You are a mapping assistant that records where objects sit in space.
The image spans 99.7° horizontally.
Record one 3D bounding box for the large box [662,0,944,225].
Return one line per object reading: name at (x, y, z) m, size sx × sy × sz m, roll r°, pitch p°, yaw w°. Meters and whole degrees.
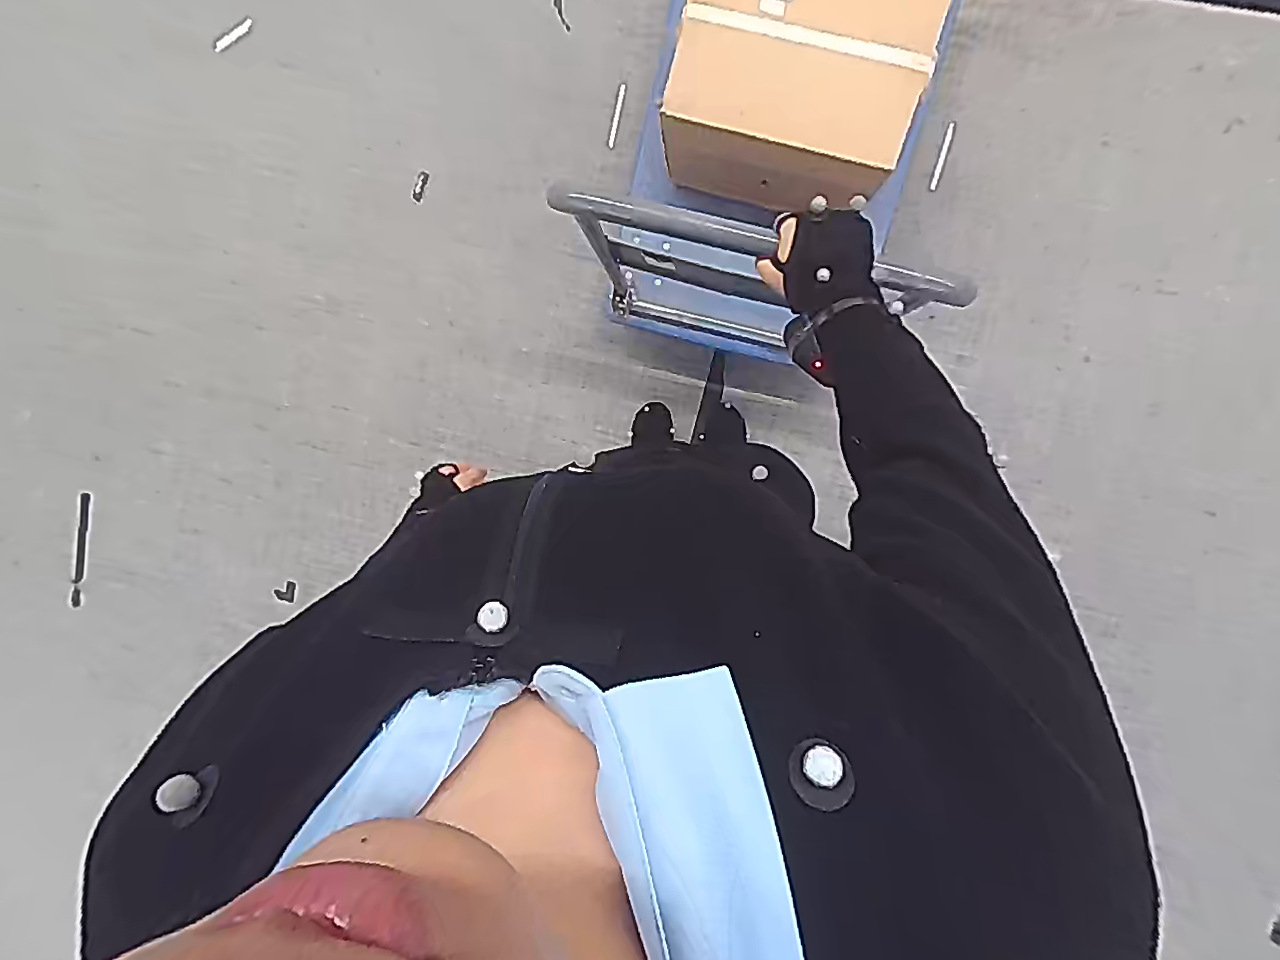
large box at (0.286, -0.733, 1.037) m, size 0.408 × 0.320 × 0.320 m, roll 17°, pitch 99°, yaw 5°
